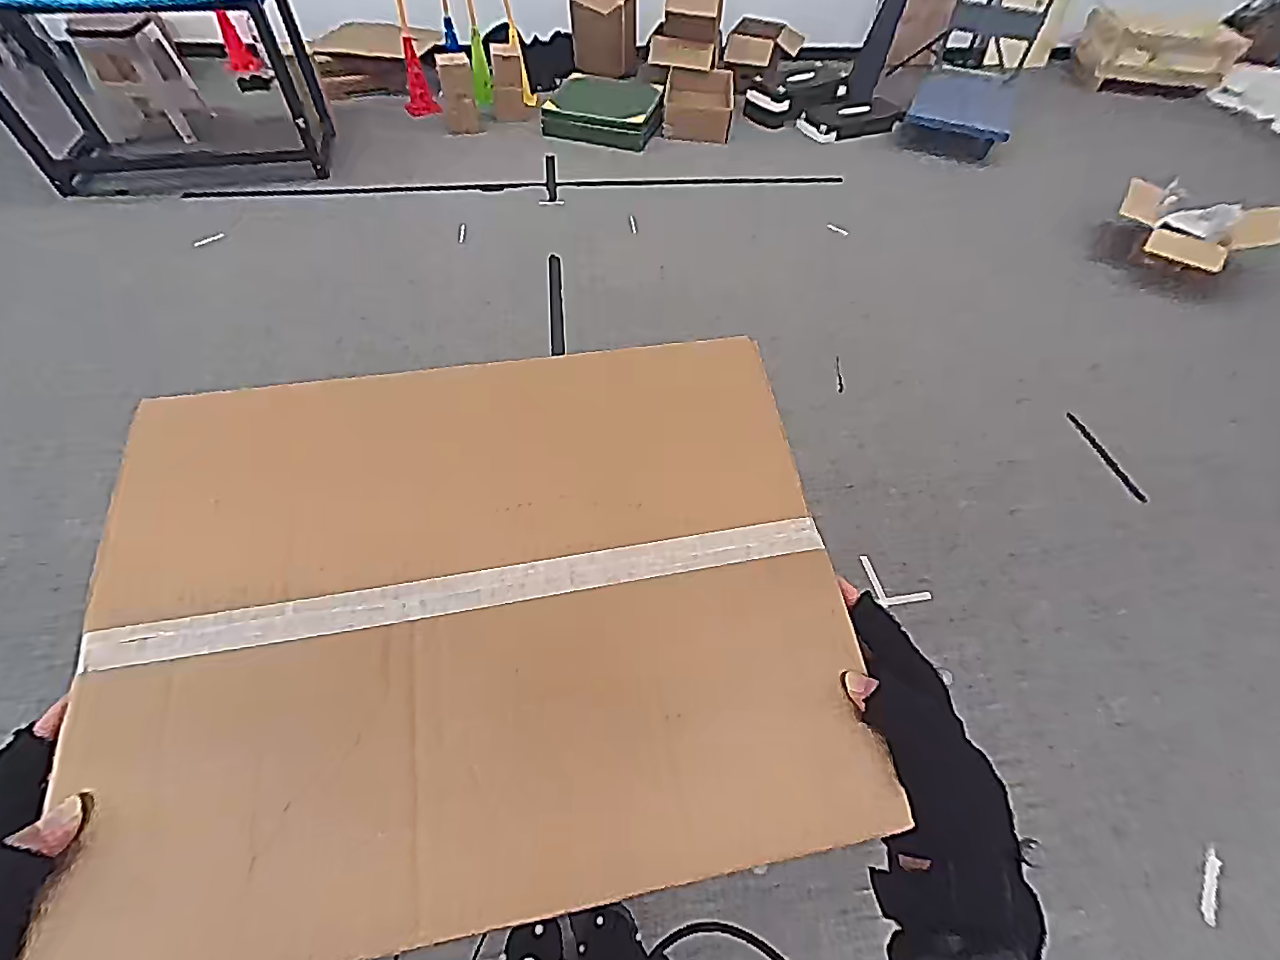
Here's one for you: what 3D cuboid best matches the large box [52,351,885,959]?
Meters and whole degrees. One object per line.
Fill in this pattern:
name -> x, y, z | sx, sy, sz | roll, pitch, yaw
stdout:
large box -> -0.098, 0.131, 0.450 | 0.408, 0.320, 0.320 | -8, 66, -7
